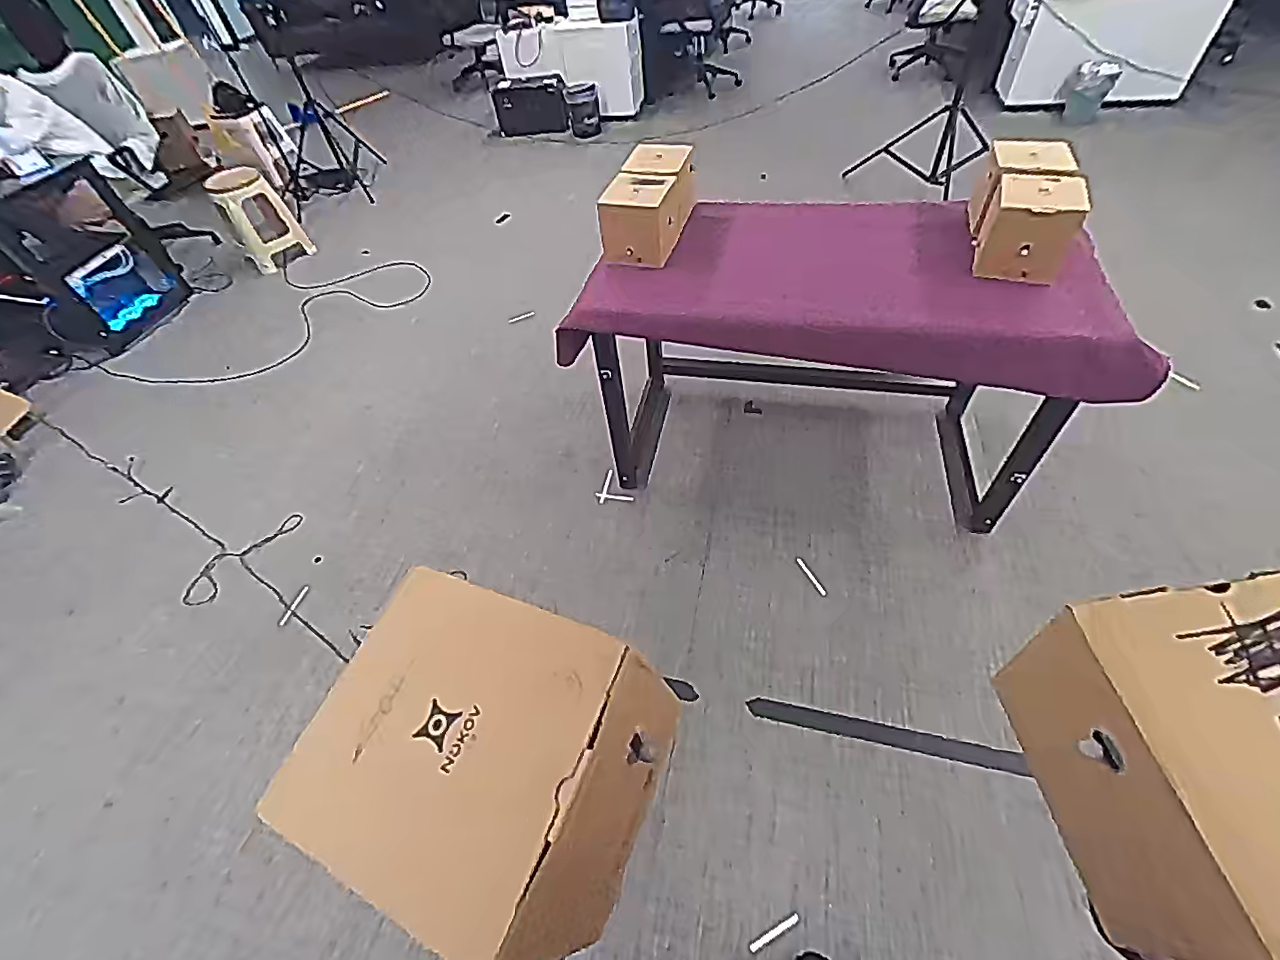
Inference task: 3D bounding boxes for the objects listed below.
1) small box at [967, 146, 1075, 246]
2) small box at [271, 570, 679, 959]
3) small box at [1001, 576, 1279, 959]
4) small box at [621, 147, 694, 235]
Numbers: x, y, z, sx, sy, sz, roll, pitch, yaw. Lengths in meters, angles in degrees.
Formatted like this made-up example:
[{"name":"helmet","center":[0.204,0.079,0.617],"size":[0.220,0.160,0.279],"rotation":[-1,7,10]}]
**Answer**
[{"name":"small box","center":[0.945,-0.715,1.361],"size":[0.168,0.176,0.179],"rotation":[11,52,14]},{"name":"small box","center":[-0.087,0.190,0.376],"size":[0.179,0.176,0.168],"rotation":[12,60,25]},{"name":"small box","center":[0.366,0.179,0.336],"size":[0.168,0.176,0.179],"rotation":[-12,53,8]},{"name":"small box","center":[0.056,-0.833,1.560],"size":[0.168,0.176,0.179],"rotation":[11,53,15]}]
